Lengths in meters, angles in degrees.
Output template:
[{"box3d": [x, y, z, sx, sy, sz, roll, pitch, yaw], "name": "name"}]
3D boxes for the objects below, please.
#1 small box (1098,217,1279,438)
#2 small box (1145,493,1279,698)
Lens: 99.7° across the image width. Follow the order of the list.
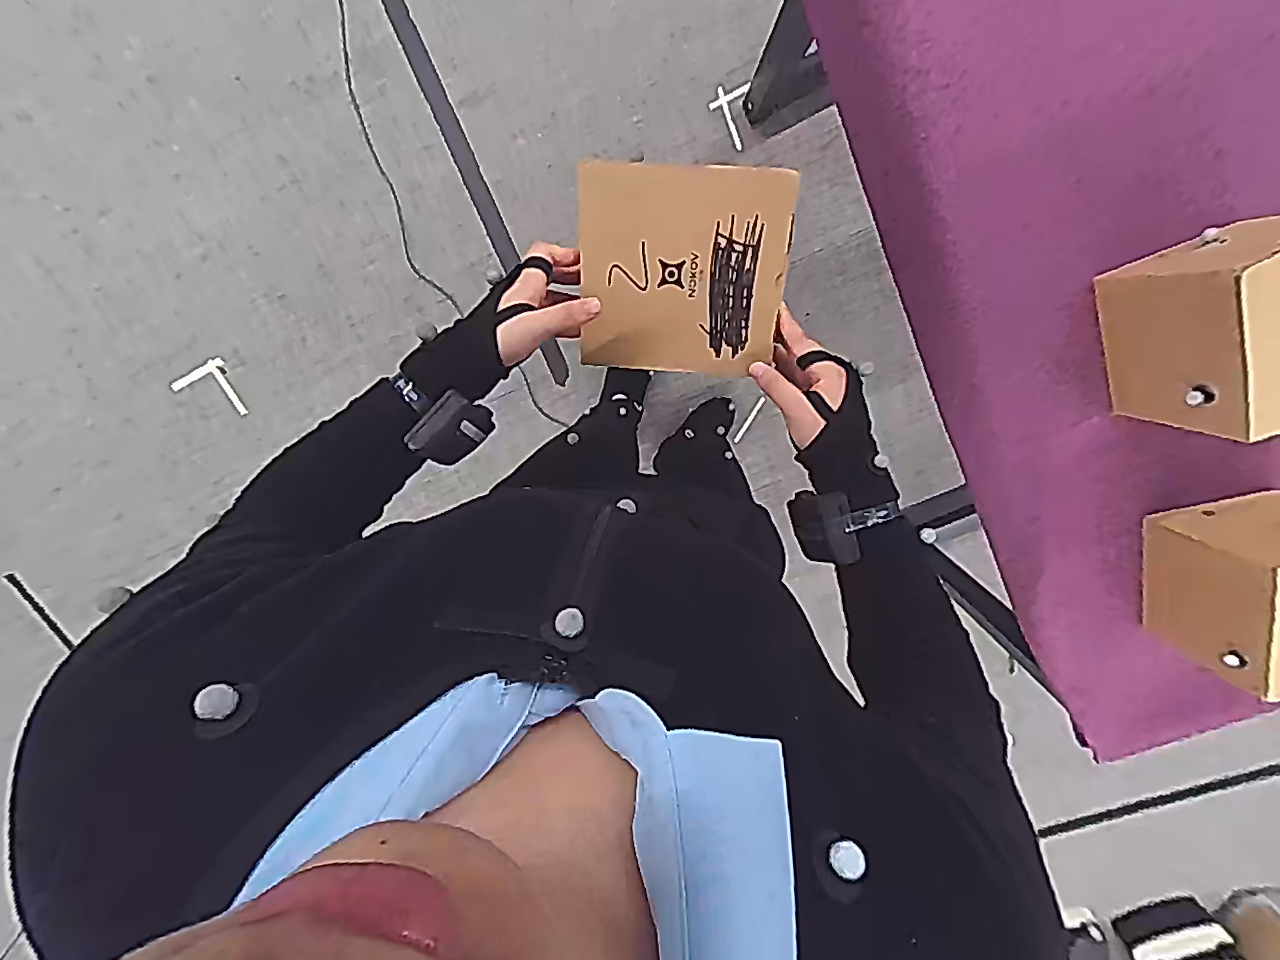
[{"box3d": [0.639, -0.168, 0.571, 0.168, 0.176, 0.179, -21, 105, 7], "name": "small box"}, {"box3d": [0.766, 0.125, 0.655, 0.168, 0.176, 0.179, -13, 106, 6], "name": "small box"}]
